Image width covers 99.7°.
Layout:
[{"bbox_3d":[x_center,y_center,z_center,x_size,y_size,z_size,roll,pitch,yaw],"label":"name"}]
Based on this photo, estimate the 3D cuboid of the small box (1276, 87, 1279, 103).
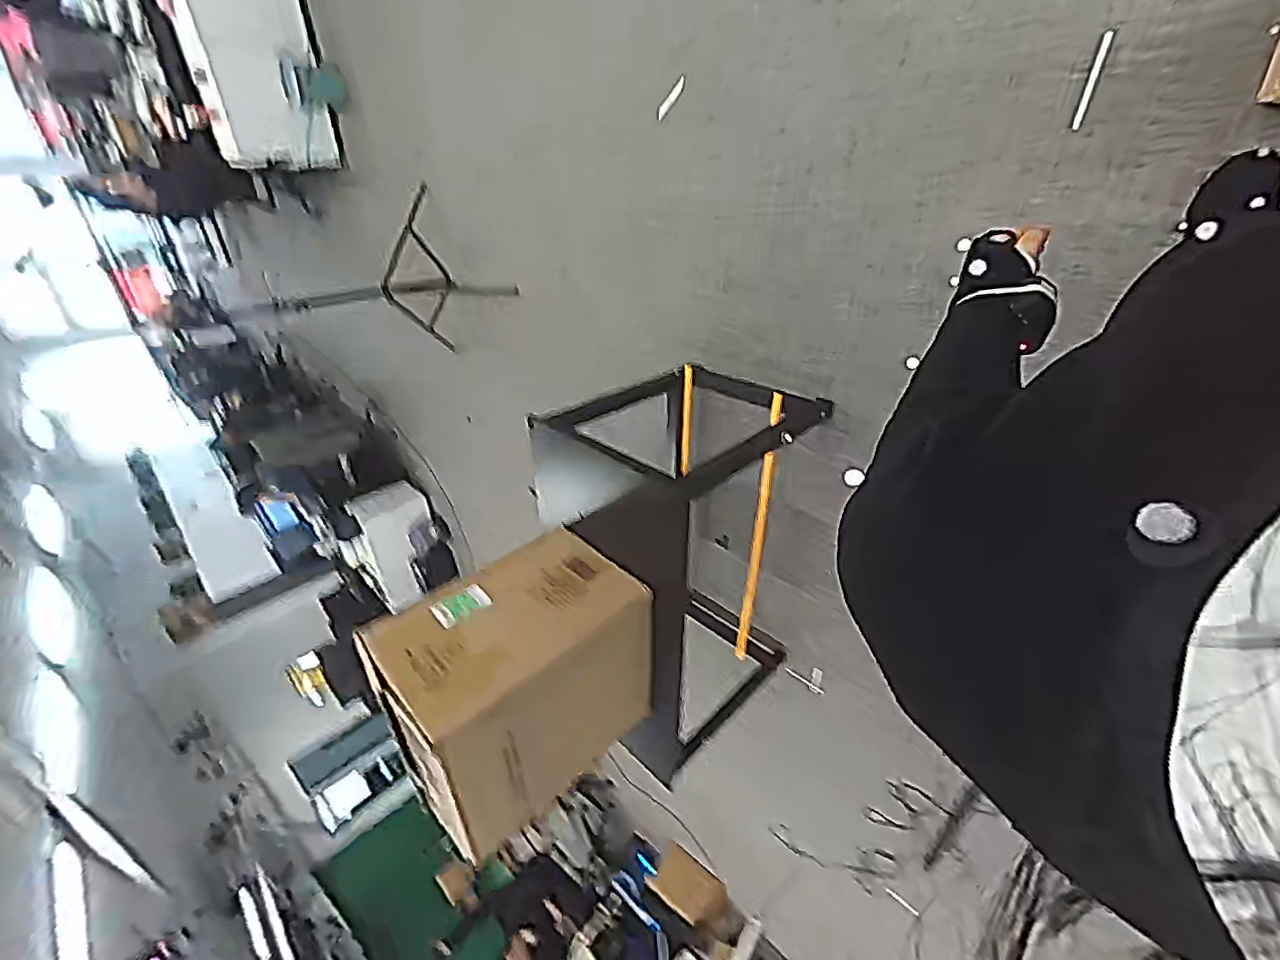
[{"bbox_3d":[0.977,-0.601,0.697,0.168,0.176,0.179,22,129,42],"label":"small box"}]
